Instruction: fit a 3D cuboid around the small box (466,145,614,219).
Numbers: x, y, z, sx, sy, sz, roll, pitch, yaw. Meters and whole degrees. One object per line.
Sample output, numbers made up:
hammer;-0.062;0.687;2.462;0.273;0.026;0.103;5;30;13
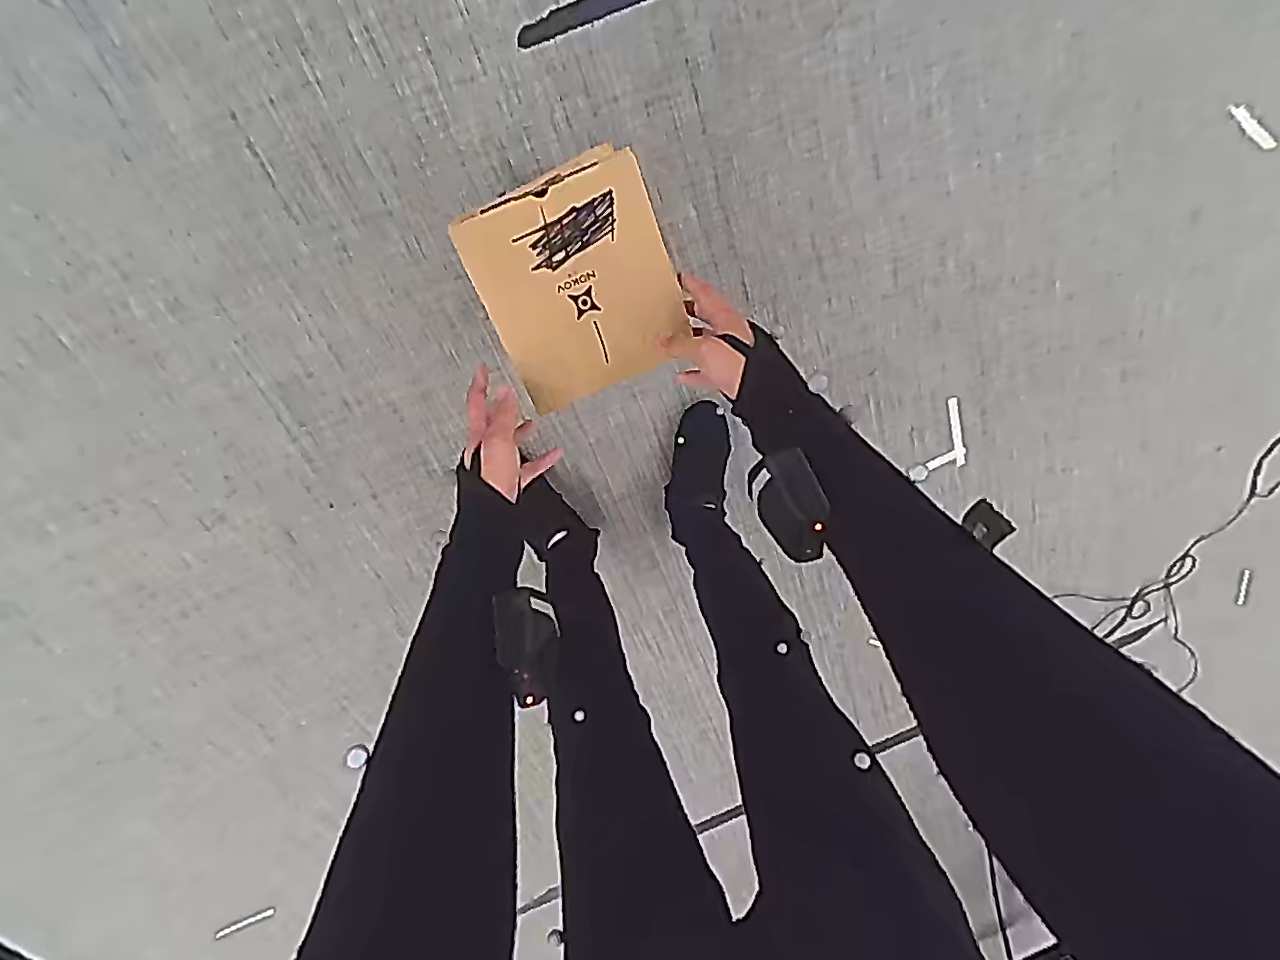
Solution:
small box;-0.090;-0.281;0.677;0.179;0.176;0.168;-27;116;1

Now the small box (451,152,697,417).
small box;-0.064;-0.191;0.539;0.168;0.176;0.179;-23;116;0
